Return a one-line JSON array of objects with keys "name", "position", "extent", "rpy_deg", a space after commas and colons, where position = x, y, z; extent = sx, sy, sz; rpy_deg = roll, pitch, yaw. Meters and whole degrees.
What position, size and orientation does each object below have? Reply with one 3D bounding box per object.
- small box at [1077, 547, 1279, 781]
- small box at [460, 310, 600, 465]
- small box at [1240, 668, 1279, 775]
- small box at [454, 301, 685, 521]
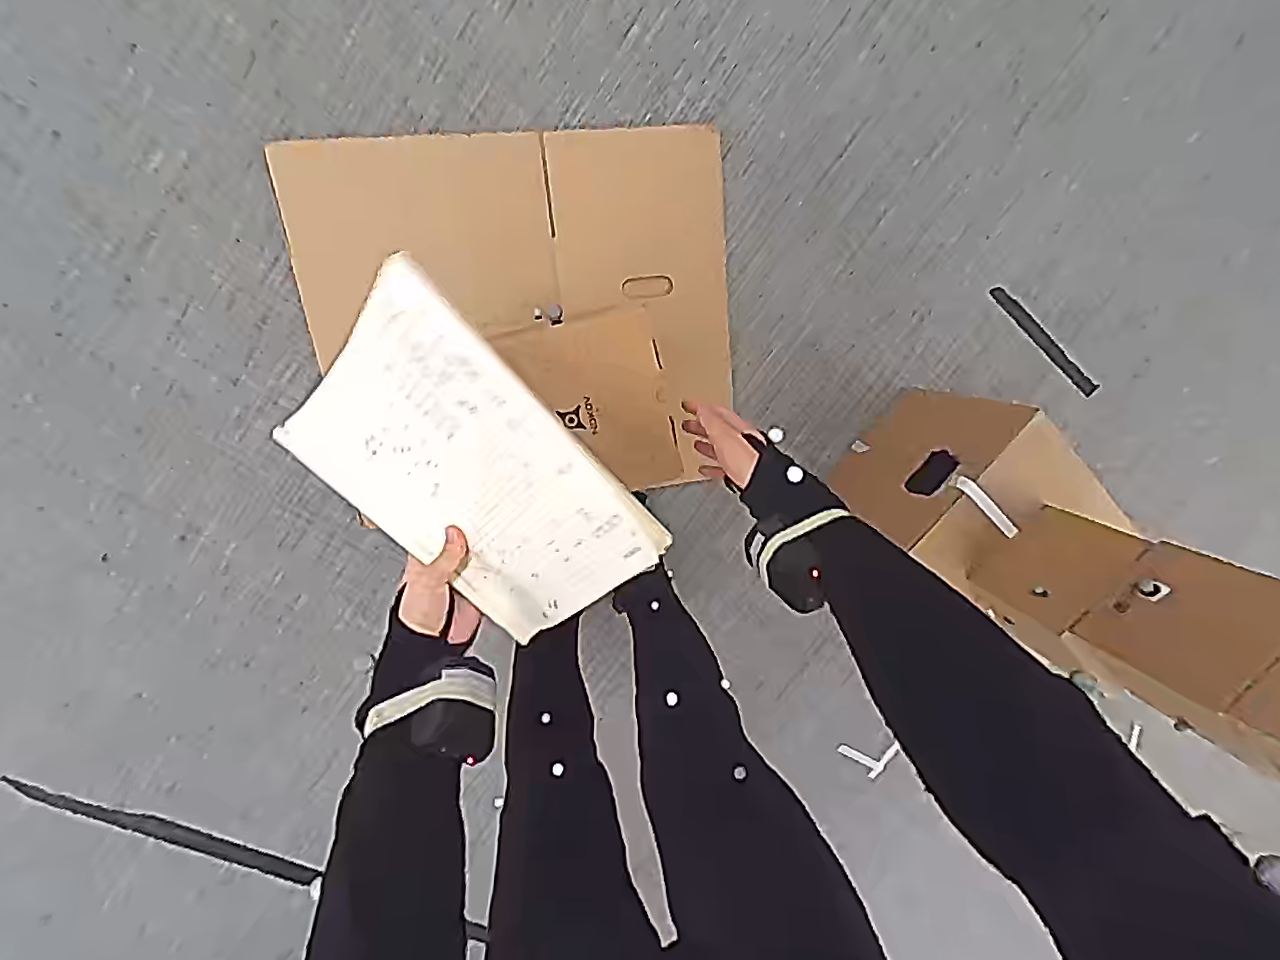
[{"name": "small box", "position": [0.694, 0.207, 0.650], "extent": [0.179, 0.176, 0.168], "rpy_deg": [38, 95, -17]}, {"name": "small box", "position": [-0.122, -0.127, 0.707], "extent": [0.179, 0.176, 0.168], "rpy_deg": [-10, 109, -10]}, {"name": "small box", "position": [0.731, 0.241, 0.492], "extent": [0.168, 0.176, 0.179], "rpy_deg": [40, 95, -18]}, {"name": "small box", "position": [-0.072, -0.079, 0.559], "extent": [0.179, 0.176, 0.168], "rpy_deg": [-17, 109, -8]}]
